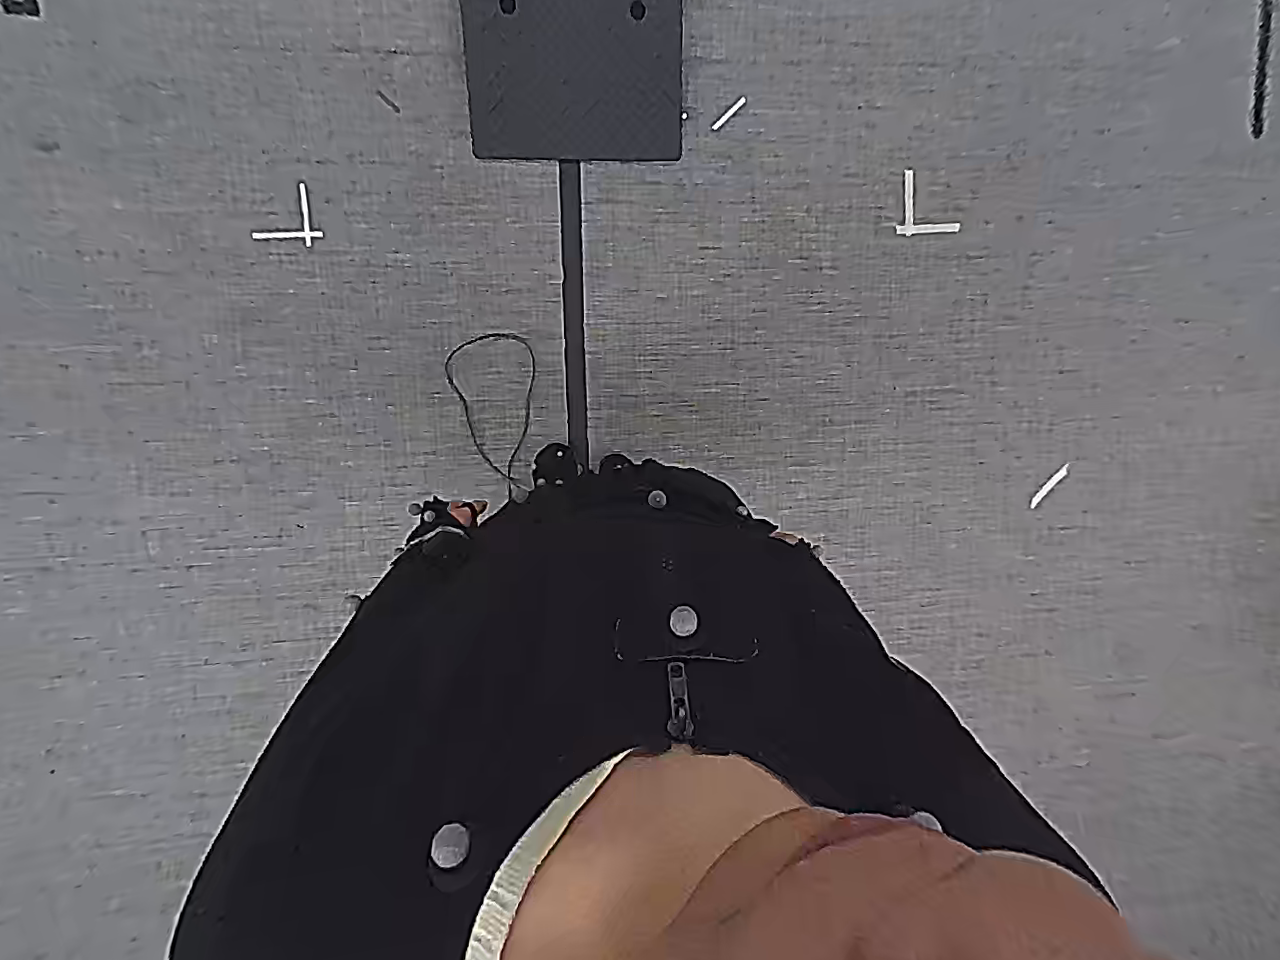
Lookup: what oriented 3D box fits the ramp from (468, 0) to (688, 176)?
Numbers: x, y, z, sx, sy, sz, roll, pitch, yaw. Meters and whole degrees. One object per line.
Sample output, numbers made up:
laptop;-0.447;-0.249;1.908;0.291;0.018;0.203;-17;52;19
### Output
ramp;-0.137;-1.212;1.161;0.509;0.206;0.991;-5;97;-6
